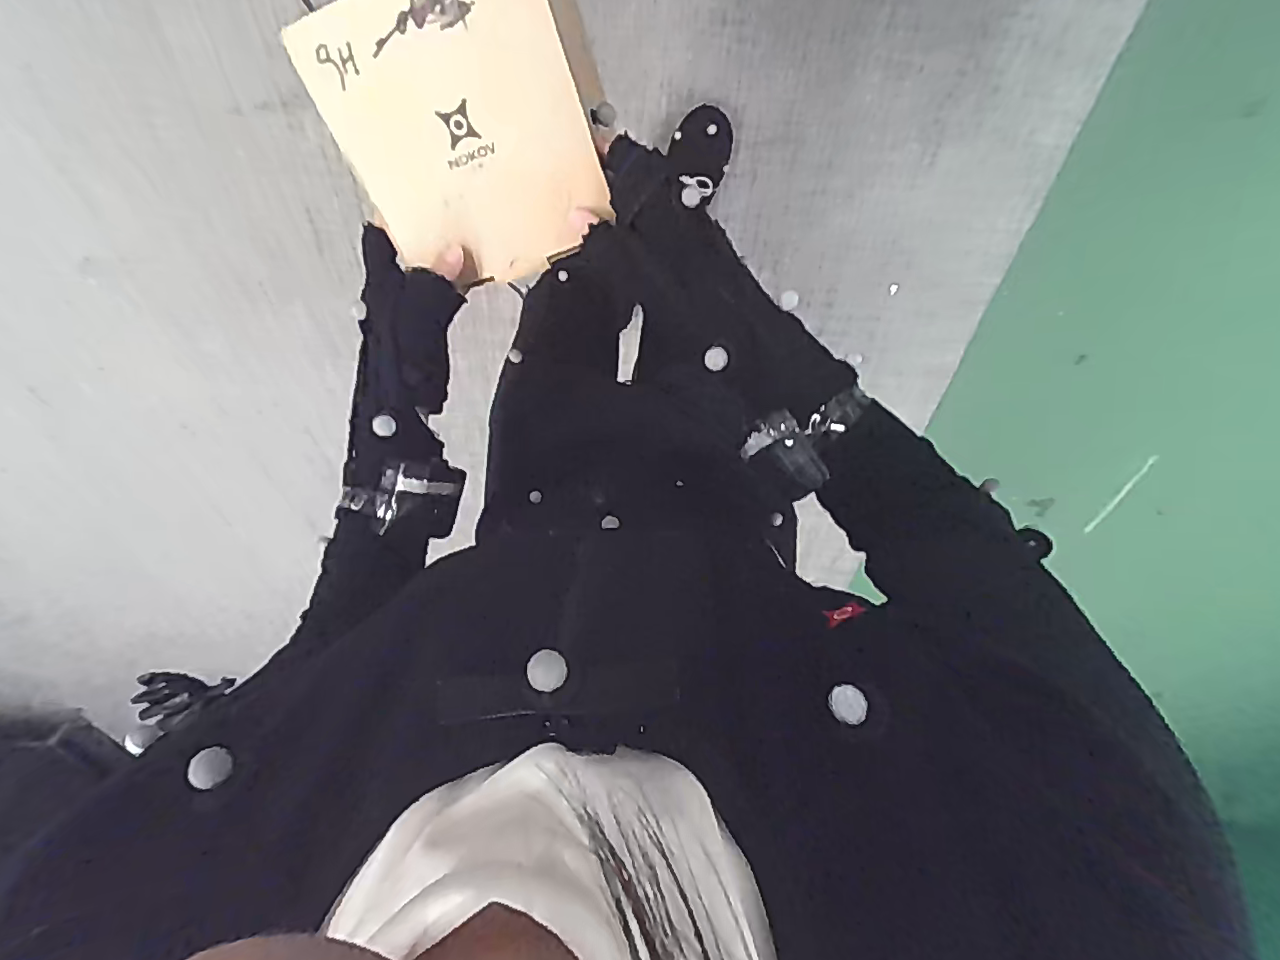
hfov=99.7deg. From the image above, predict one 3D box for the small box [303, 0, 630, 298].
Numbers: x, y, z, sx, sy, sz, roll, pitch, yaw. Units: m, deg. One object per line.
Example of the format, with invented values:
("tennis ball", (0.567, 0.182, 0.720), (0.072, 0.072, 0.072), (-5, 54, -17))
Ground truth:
("small box", (-0.111, -0.278, 0.440), (0.168, 0.176, 0.179), (-12, 124, 12))
